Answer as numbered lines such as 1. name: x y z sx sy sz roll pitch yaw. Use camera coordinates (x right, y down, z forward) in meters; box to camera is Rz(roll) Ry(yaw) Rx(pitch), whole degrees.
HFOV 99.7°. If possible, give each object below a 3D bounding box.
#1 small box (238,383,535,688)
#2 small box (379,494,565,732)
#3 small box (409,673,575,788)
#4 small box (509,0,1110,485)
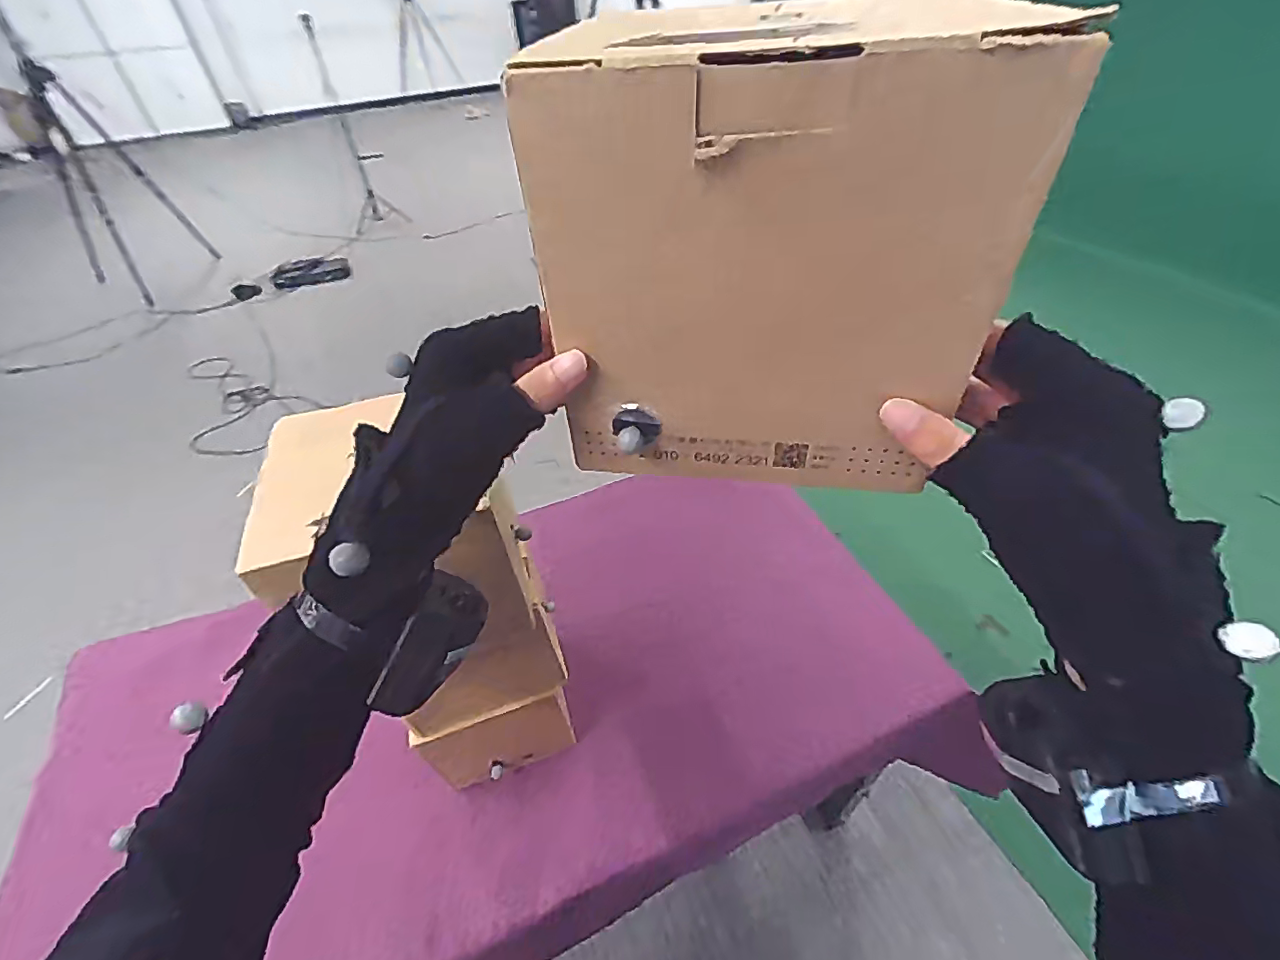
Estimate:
1. small box: -0.198 0.045 0.470 0.168 0.176 0.179 -16 44 -10
2. small box: -0.197 0.147 0.600 0.179 0.176 0.168 -17 46 -12
3. small box: -0.193 0.266 0.710 0.168 0.176 0.179 -17 46 -11
4. small box: 0.060 -0.115 0.262 0.168 0.176 0.179 5 45 10
